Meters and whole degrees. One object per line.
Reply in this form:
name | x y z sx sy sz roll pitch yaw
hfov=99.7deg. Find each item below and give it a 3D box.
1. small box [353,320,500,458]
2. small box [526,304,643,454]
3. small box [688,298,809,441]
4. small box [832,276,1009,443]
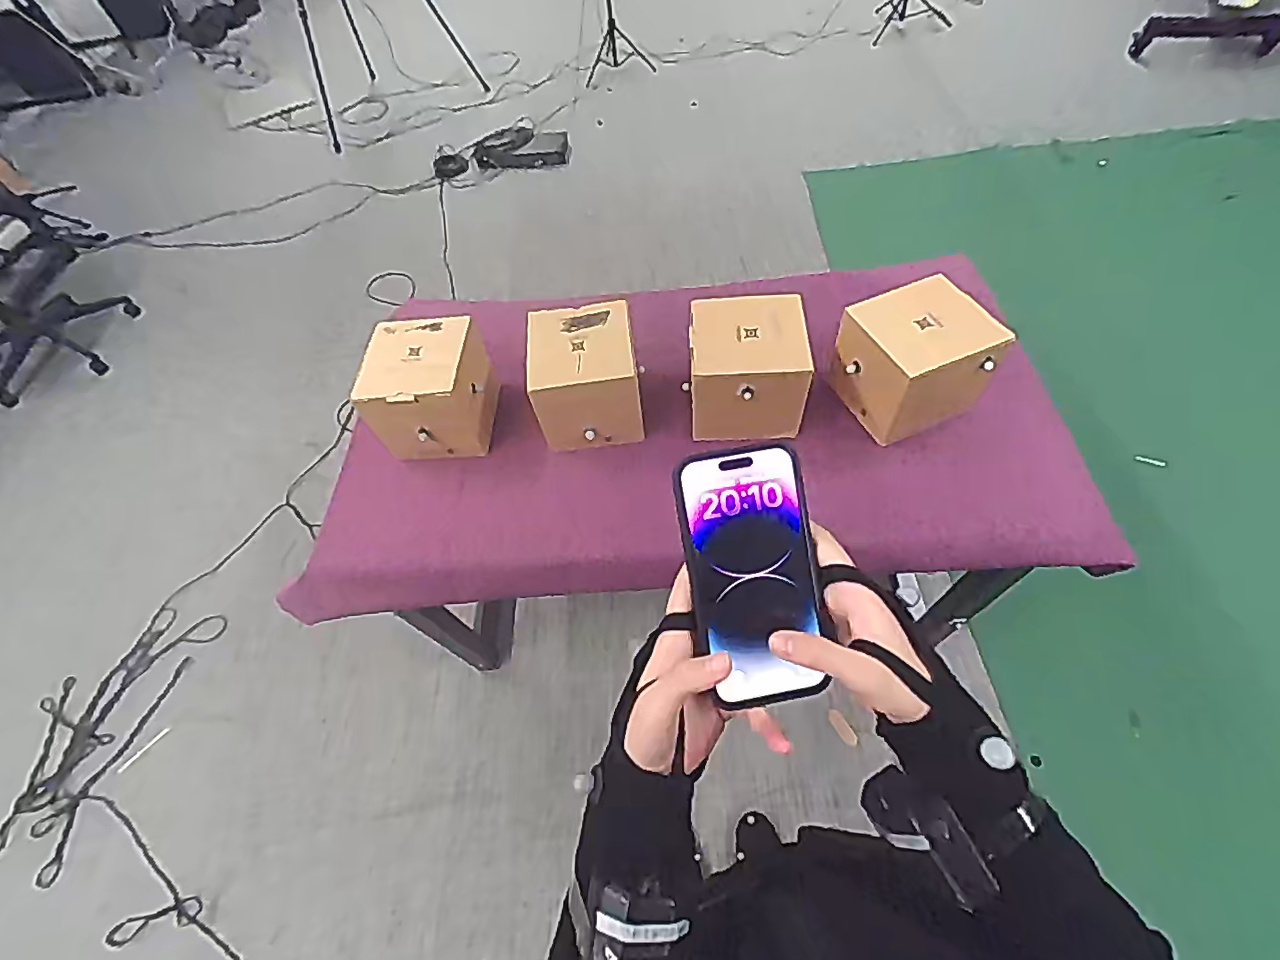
small box | -0.355 -0.149 0.937 0.168 0.176 0.179 -3 58 5
small box | -0.088 -0.167 0.916 0.168 0.176 0.179 -7 57 2
small box | 0.170 -0.176 0.891 0.179 0.176 0.168 -1 58 6
small box | 0.428 -0.186 0.865 0.179 0.176 0.168 -21 57 -7
